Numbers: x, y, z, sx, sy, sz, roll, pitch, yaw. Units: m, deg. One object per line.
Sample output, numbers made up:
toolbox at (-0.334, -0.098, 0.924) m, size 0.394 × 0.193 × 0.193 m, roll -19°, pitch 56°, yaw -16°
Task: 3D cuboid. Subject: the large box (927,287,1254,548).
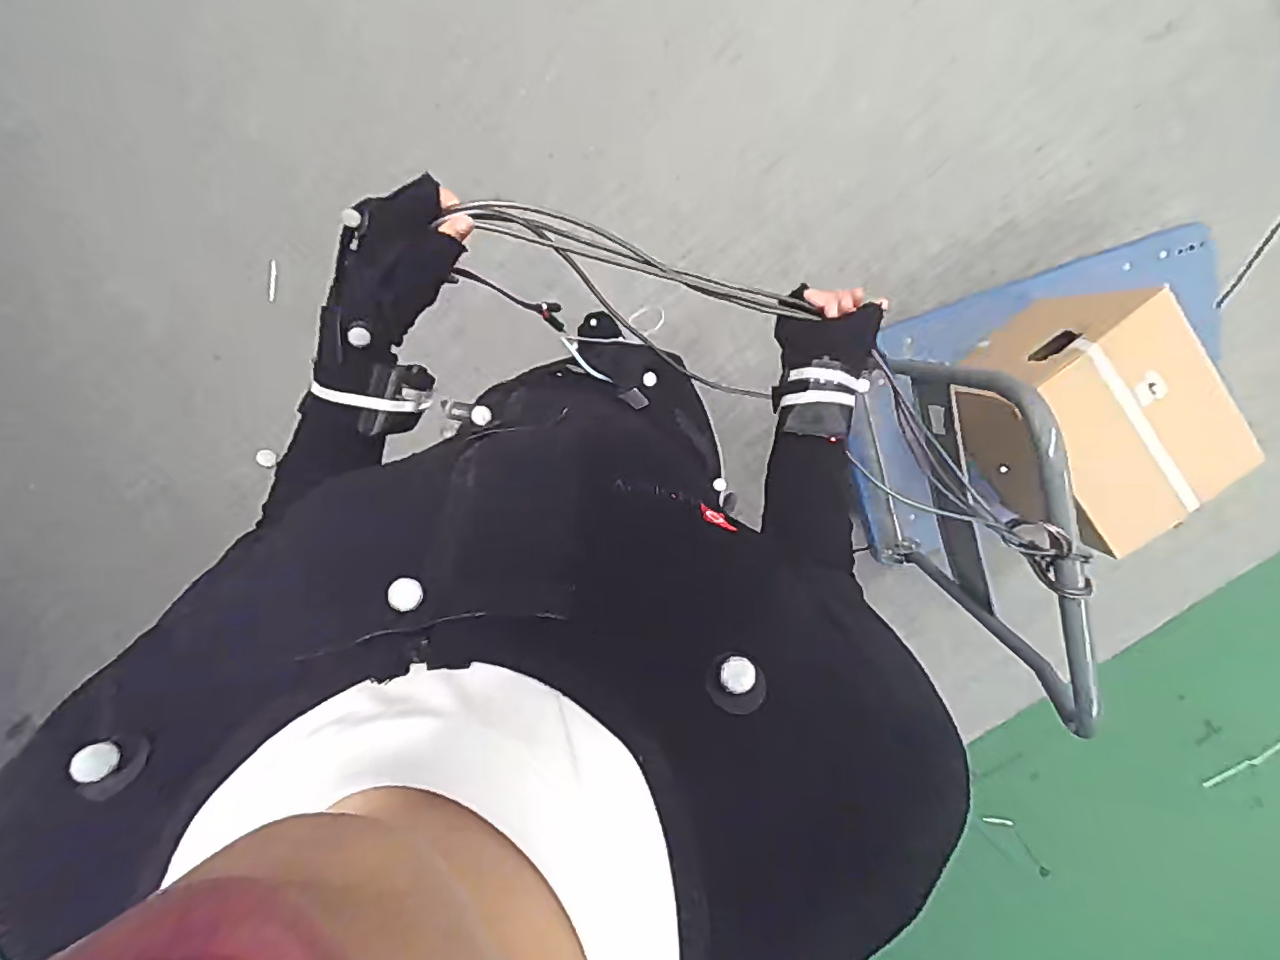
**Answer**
large box at (0.913, -0.138, 1.147) m, size 0.320 × 0.320 × 0.408 m, roll -40°, pitch 101°, yaw 9°
